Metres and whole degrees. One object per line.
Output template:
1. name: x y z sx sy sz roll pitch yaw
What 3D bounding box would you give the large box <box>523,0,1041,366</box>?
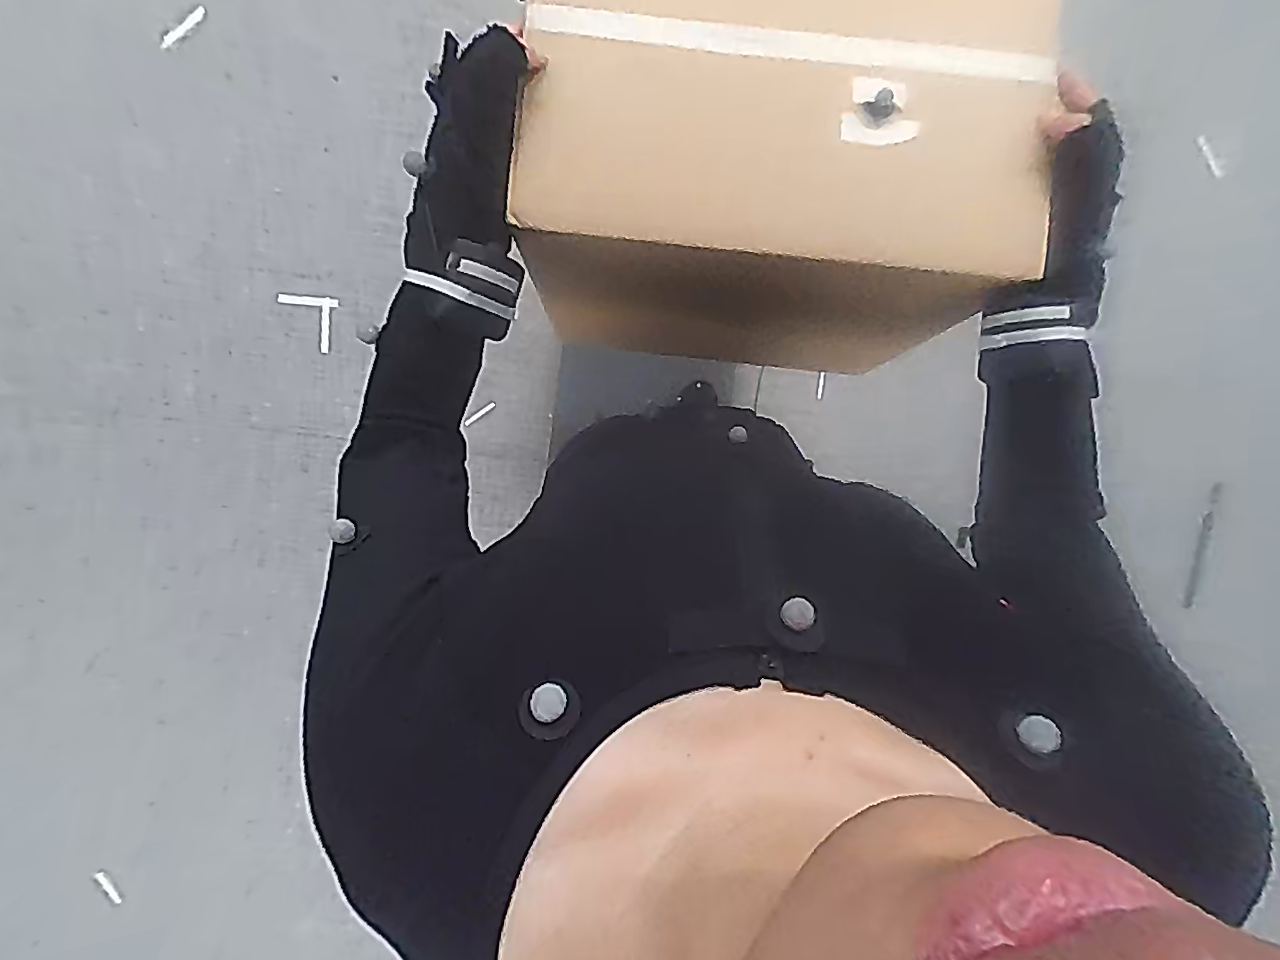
1. large box: 0.111 -0.324 0.575 0.408 0.320 0.320 6 88 -1
